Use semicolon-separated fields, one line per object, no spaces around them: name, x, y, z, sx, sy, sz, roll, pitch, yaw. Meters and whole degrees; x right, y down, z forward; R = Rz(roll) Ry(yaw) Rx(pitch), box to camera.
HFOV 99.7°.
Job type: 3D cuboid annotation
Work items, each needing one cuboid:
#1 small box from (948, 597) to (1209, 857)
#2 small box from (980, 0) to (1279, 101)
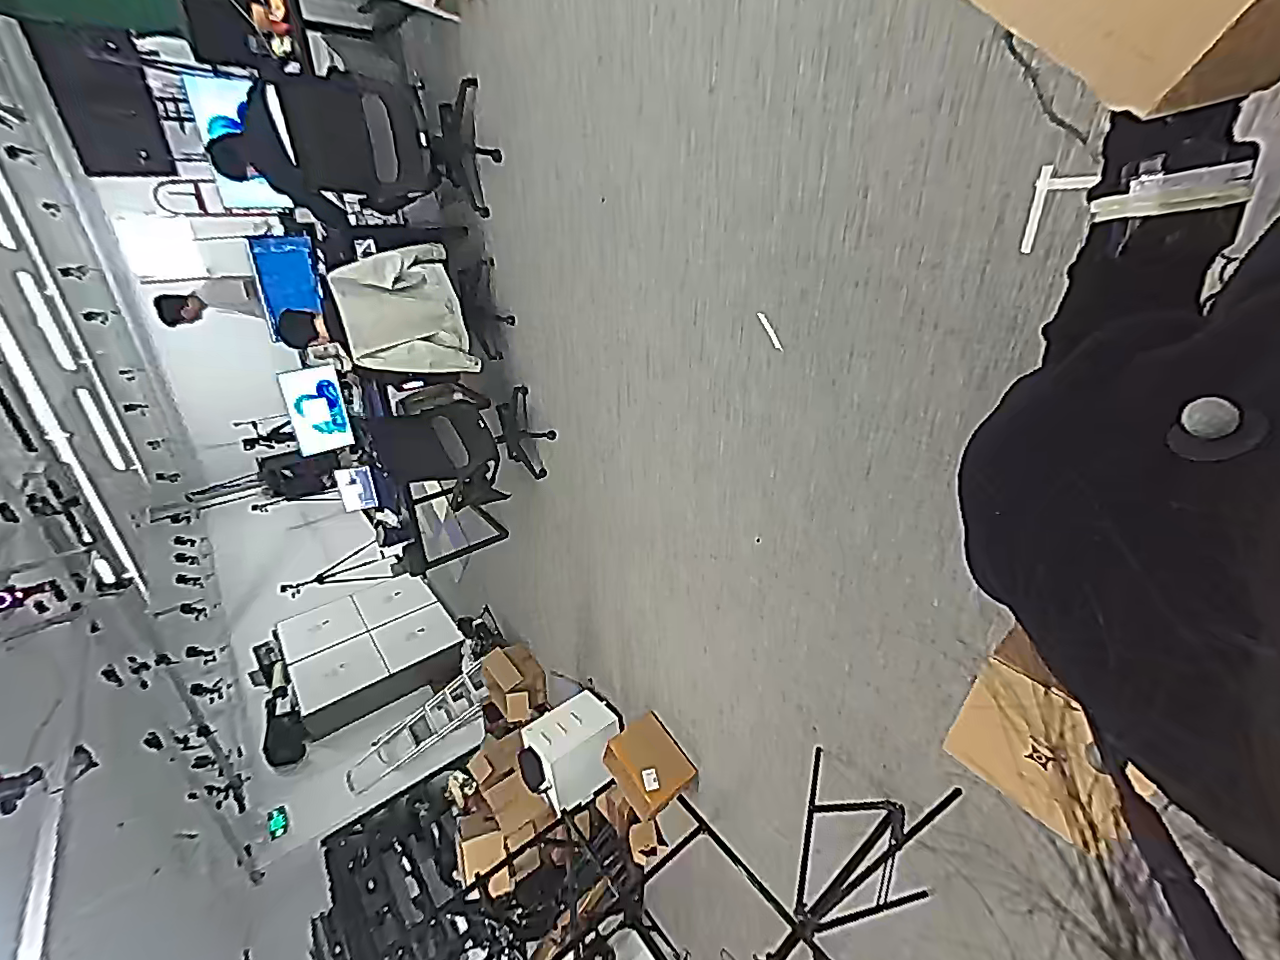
small box;0.498;0.267;0.622;0.168;0.176;0.179;33;135;43
small box;0.256;-0.299;0.228;0.179;0.176;0.168;55;154;19
